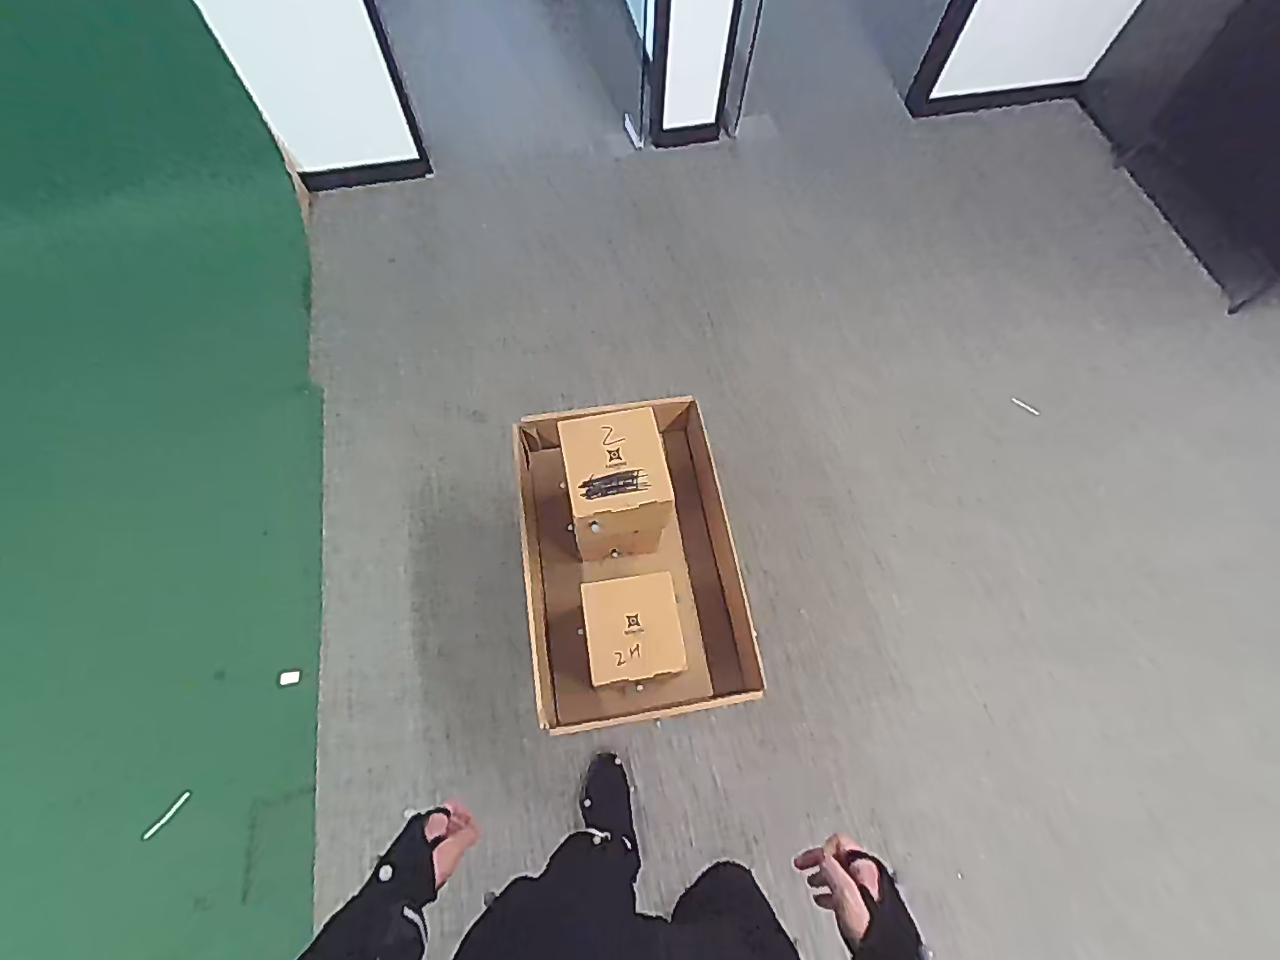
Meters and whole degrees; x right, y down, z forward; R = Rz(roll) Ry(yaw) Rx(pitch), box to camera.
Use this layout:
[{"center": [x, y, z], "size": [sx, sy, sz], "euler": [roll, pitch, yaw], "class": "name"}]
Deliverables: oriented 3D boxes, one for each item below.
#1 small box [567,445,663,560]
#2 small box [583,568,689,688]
[{"center": [-0.054, 0.050, 1.113], "size": [0.168, 0.176, 0.179], "euler": [-9, 69, -6], "class": "small box"}, {"center": [-0.012, 0.279, 1.009], "size": [0.168, 0.176, 0.179], "euler": [-8, 66, -4], "class": "small box"}]
